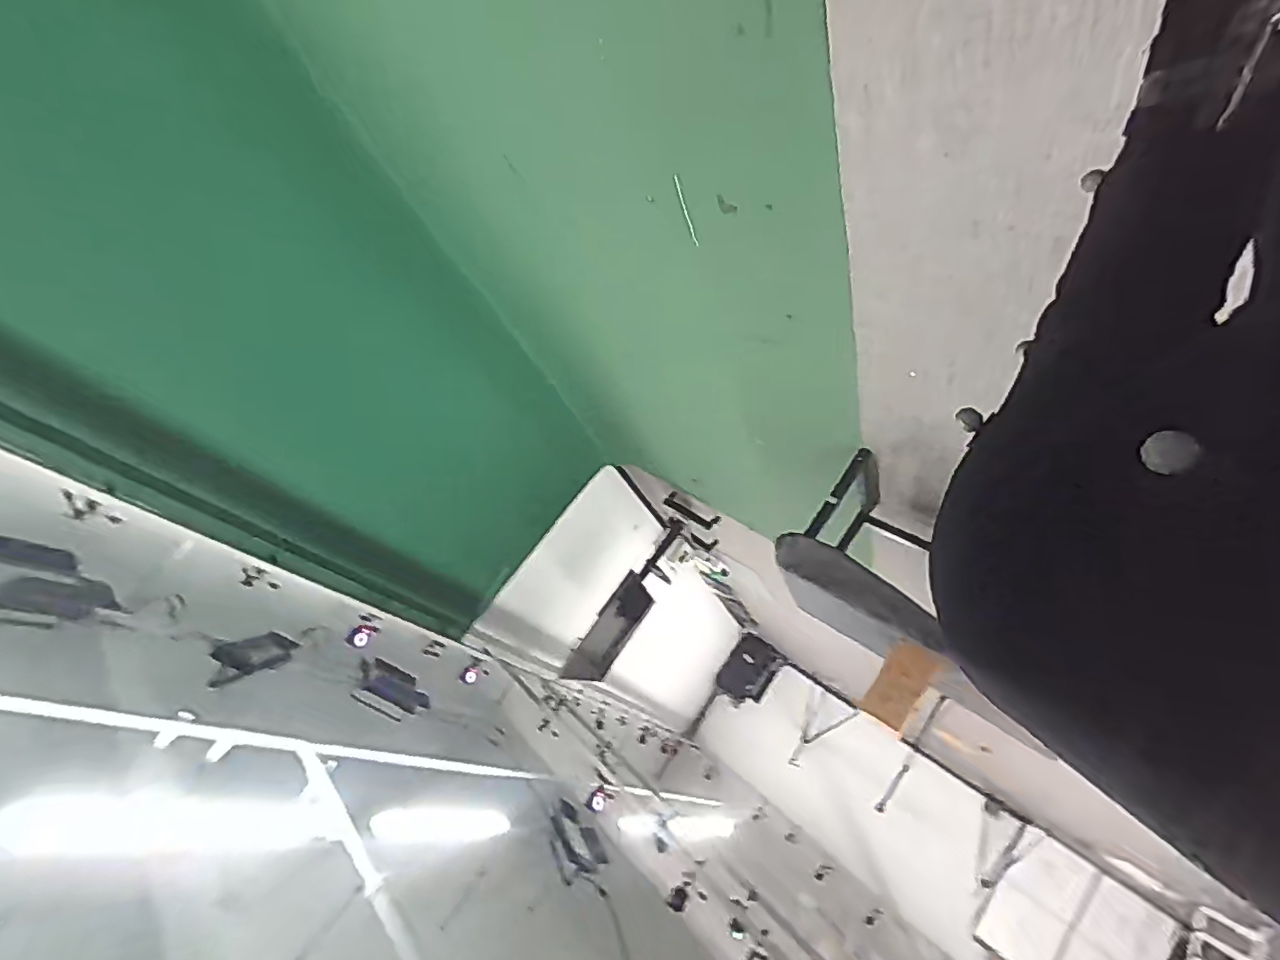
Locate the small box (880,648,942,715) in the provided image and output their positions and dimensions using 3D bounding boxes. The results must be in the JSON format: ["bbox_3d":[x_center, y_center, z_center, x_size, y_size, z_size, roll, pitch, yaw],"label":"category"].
[{"bbox_3d":[1.101,0.817,2.196,0.179,0.176,0.168,31,165,36],"label":"small box"}]

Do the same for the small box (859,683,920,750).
[{"bbox_3d":[1.001,0.943,2.164,0.168,0.176,0.179,28,163,38],"label":"small box"}]
